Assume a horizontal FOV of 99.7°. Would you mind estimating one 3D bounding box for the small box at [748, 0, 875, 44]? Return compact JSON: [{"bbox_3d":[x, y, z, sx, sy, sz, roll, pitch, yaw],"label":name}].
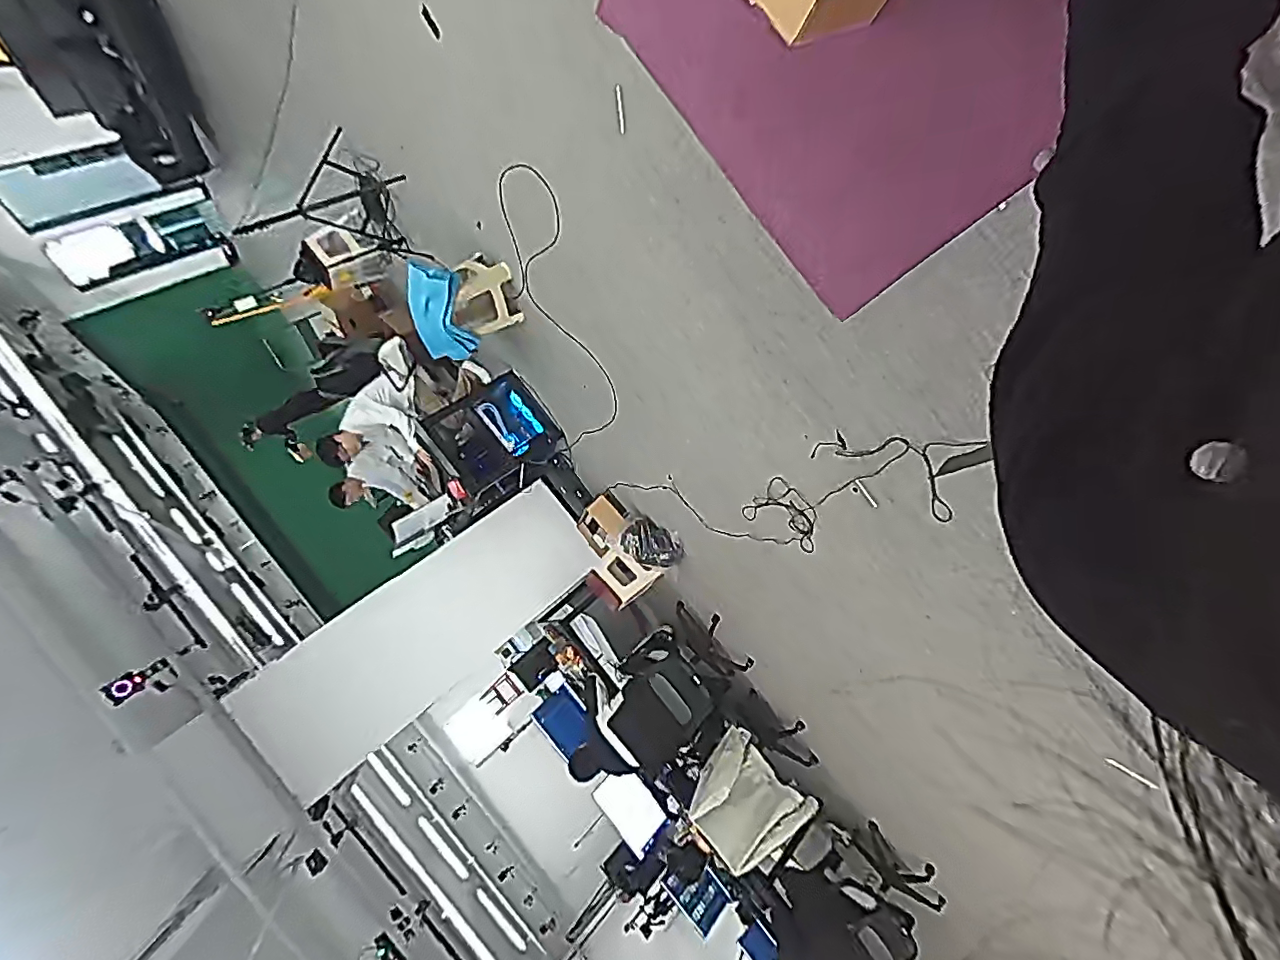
[{"bbox_3d":[0.183,-0.581,0.518,0.168,0.176,0.179,50,153,2],"label":"small box"}]
